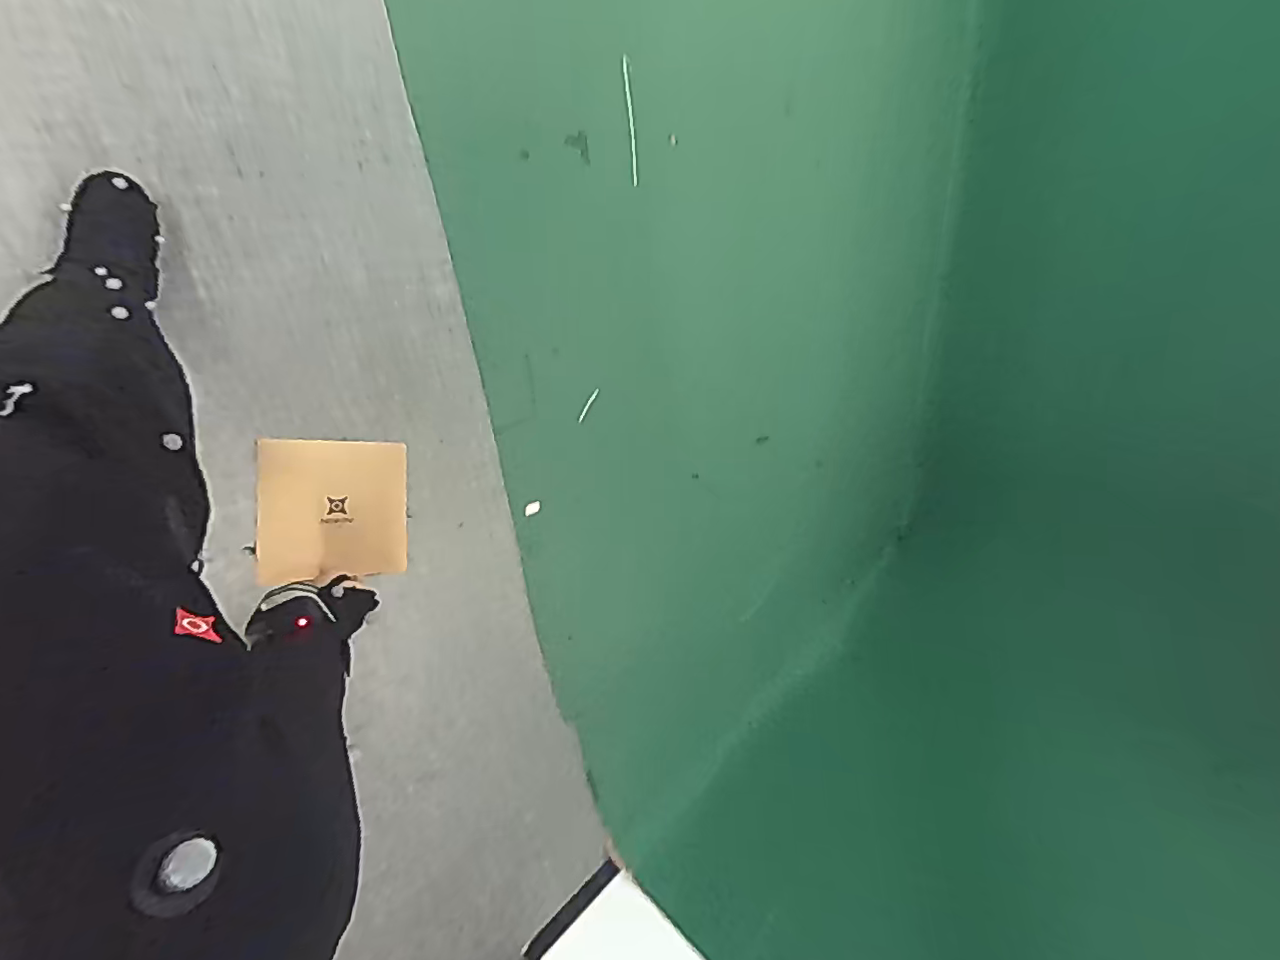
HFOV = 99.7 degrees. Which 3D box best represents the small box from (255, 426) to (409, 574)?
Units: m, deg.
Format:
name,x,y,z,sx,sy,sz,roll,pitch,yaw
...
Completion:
name,x,y,z,sx,sy,sz,roll,pitch,yaw
small box,-0.423,0.024,0.738,0.168,0.176,0.179,-1,91,-35
